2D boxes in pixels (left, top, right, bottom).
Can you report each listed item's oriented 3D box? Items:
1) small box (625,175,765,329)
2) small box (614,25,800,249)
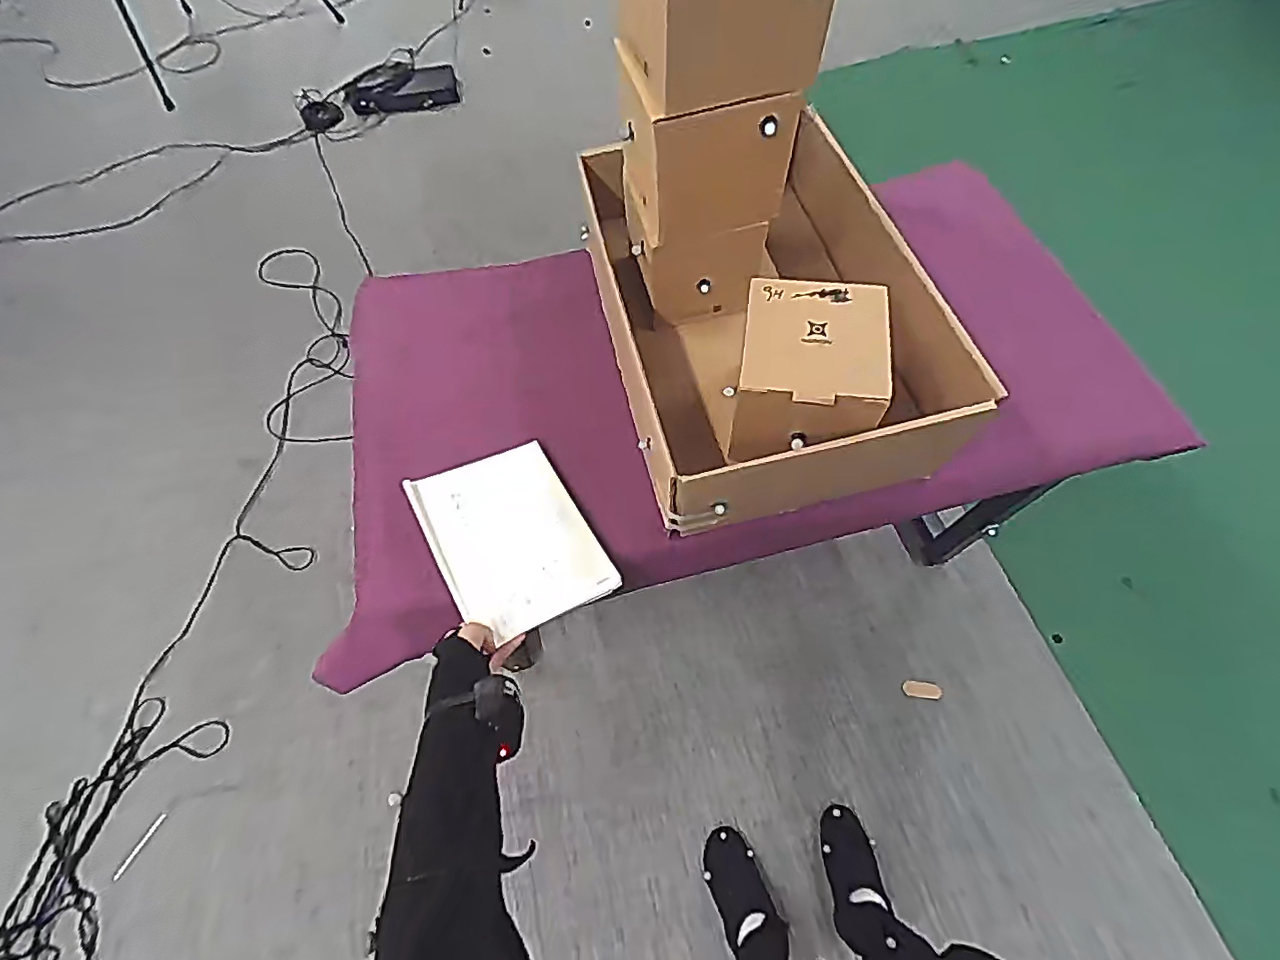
[{"bbox_3d":[0.079,-0.355,0.833,0.168,0.176,0.179,-13,65,-3],"label":"small box"},{"bbox_3d":[0.077,-0.425,0.687,0.179,0.176,0.168,-15,64,-5],"label":"small box"}]
